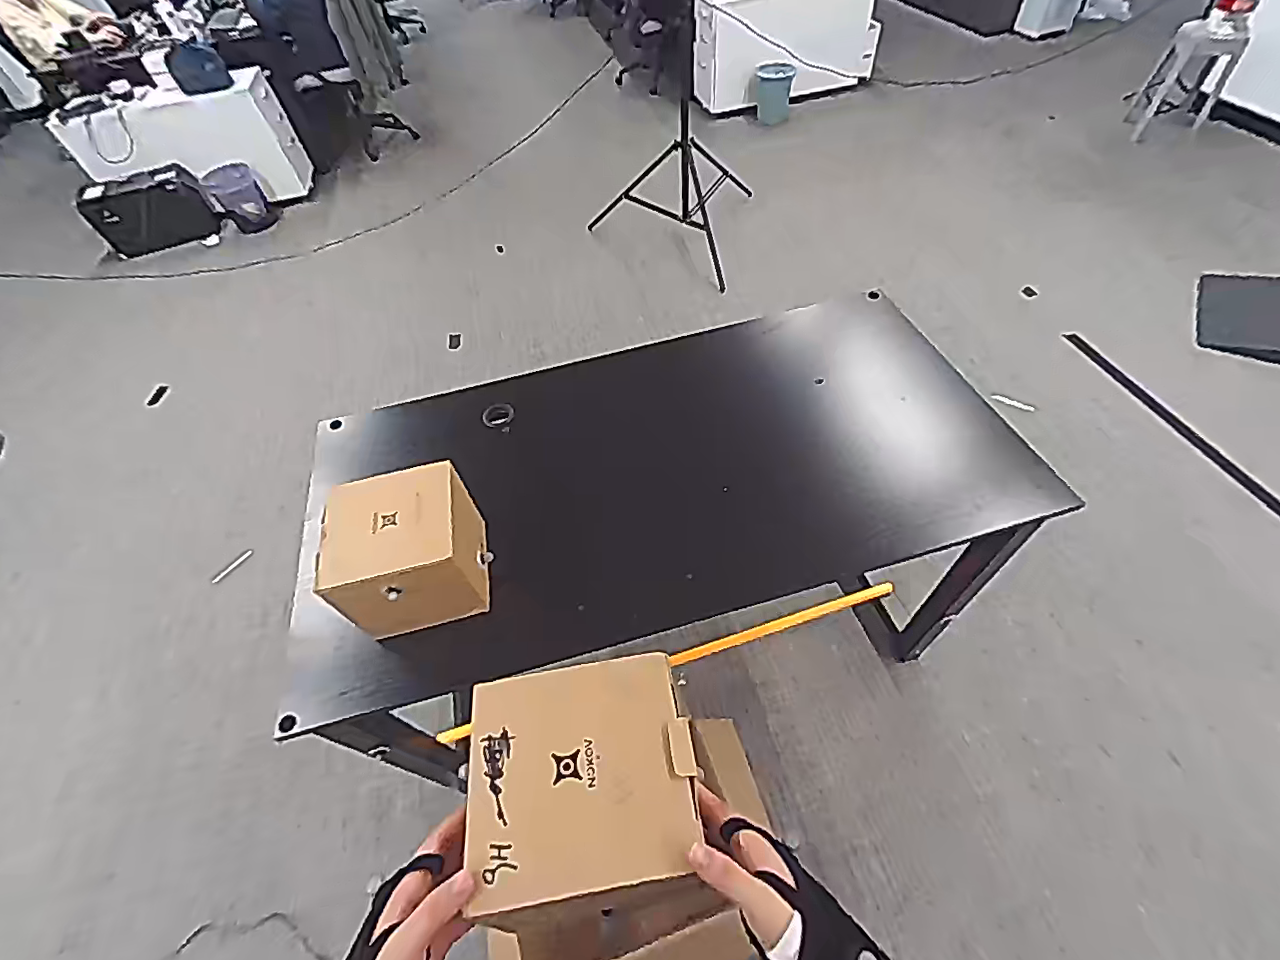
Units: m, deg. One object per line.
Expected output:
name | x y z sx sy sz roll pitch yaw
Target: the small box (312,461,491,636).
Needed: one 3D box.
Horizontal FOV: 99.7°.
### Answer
small box | -0.328 0.103 0.773 0.179 0.176 0.168 -14 54 -6
